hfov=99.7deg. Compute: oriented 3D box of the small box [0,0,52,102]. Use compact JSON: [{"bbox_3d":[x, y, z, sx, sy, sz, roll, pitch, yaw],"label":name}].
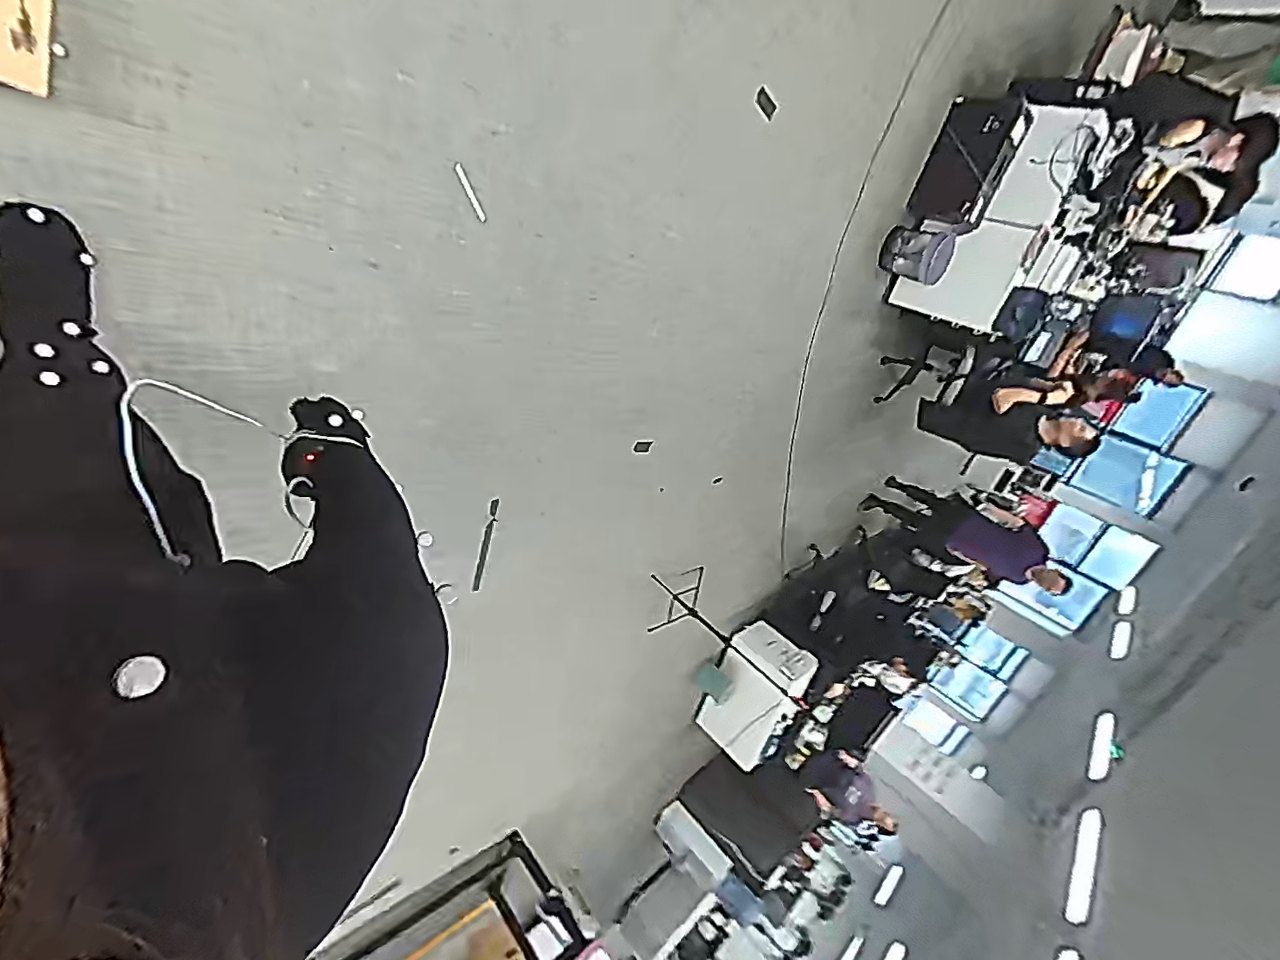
[{"bbox_3d":[-0.884,-0.619,0.689,0.179,0.176,0.168,2,117,-51],"label":"small box"}]
